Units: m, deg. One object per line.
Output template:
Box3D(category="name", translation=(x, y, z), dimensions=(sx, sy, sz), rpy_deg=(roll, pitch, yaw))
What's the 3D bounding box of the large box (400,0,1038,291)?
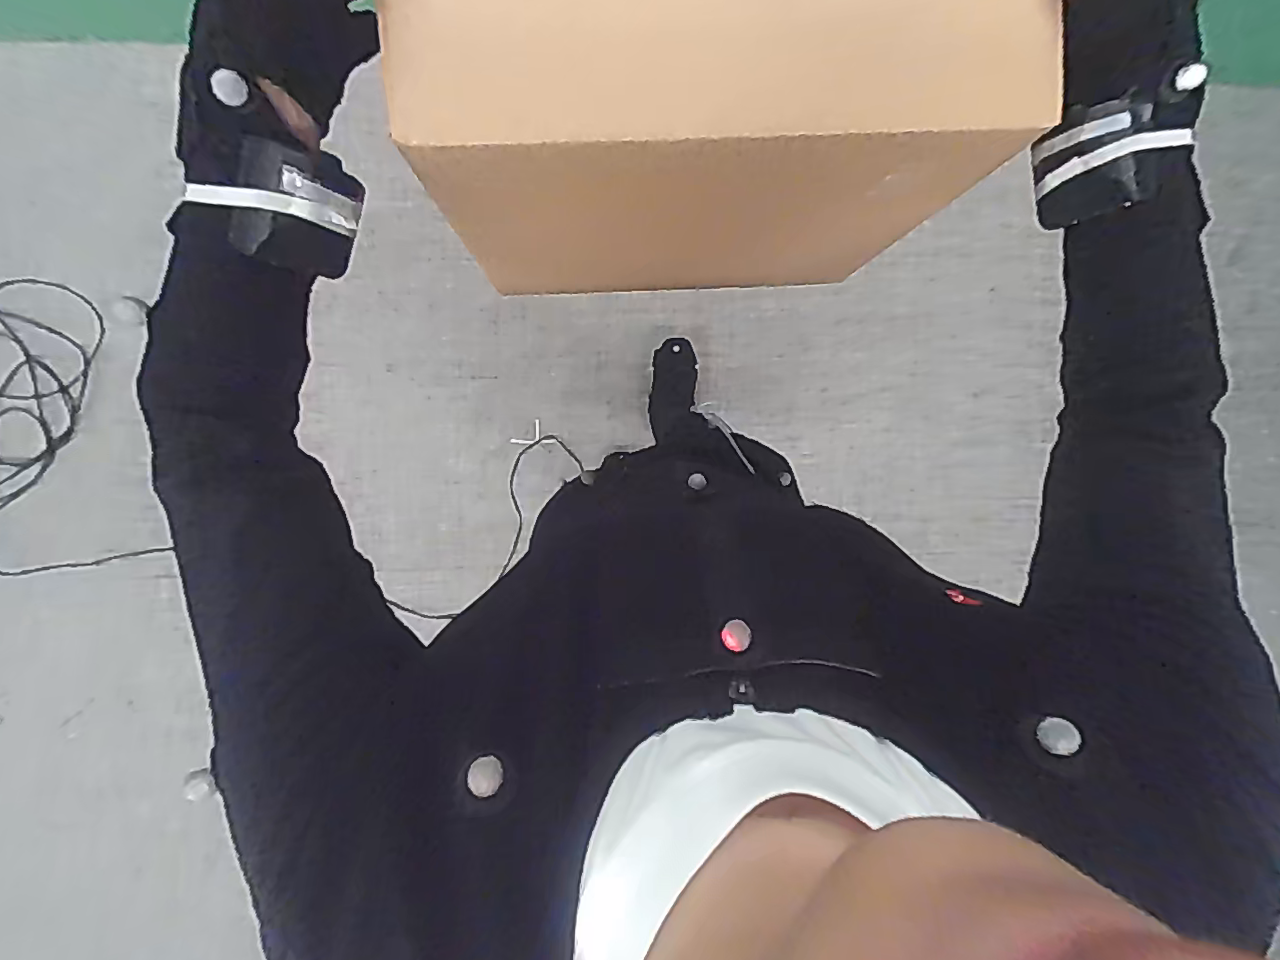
Box3D(category="large box", translation=(0.038, -0.376, 0.477), dimensions=(0.408, 0.320, 0.320), rpy_deg=(-4, 94, -3))
